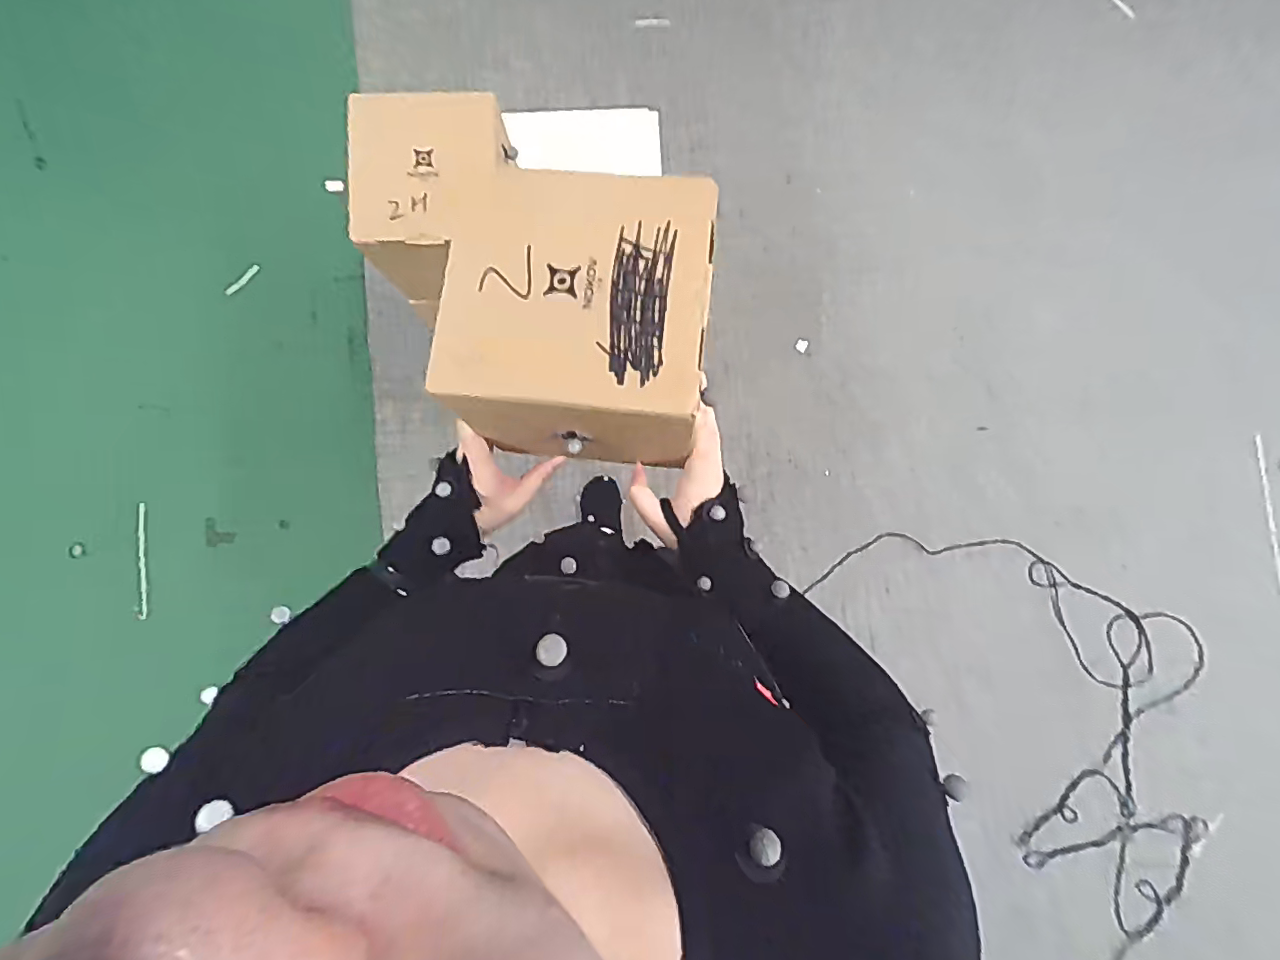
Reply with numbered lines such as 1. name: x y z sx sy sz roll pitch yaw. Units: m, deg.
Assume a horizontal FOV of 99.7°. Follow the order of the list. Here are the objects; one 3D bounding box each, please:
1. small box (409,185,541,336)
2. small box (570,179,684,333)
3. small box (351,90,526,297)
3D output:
1. small box: -0.252 -0.340 0.852 0.168 0.176 0.179 -3 88 -2
2. small box: -0.020 -0.344 0.857 0.168 0.176 0.179 -1 88 0
3. small box: -0.243 -0.351 0.688 0.168 0.176 0.179 -2 87 -1
